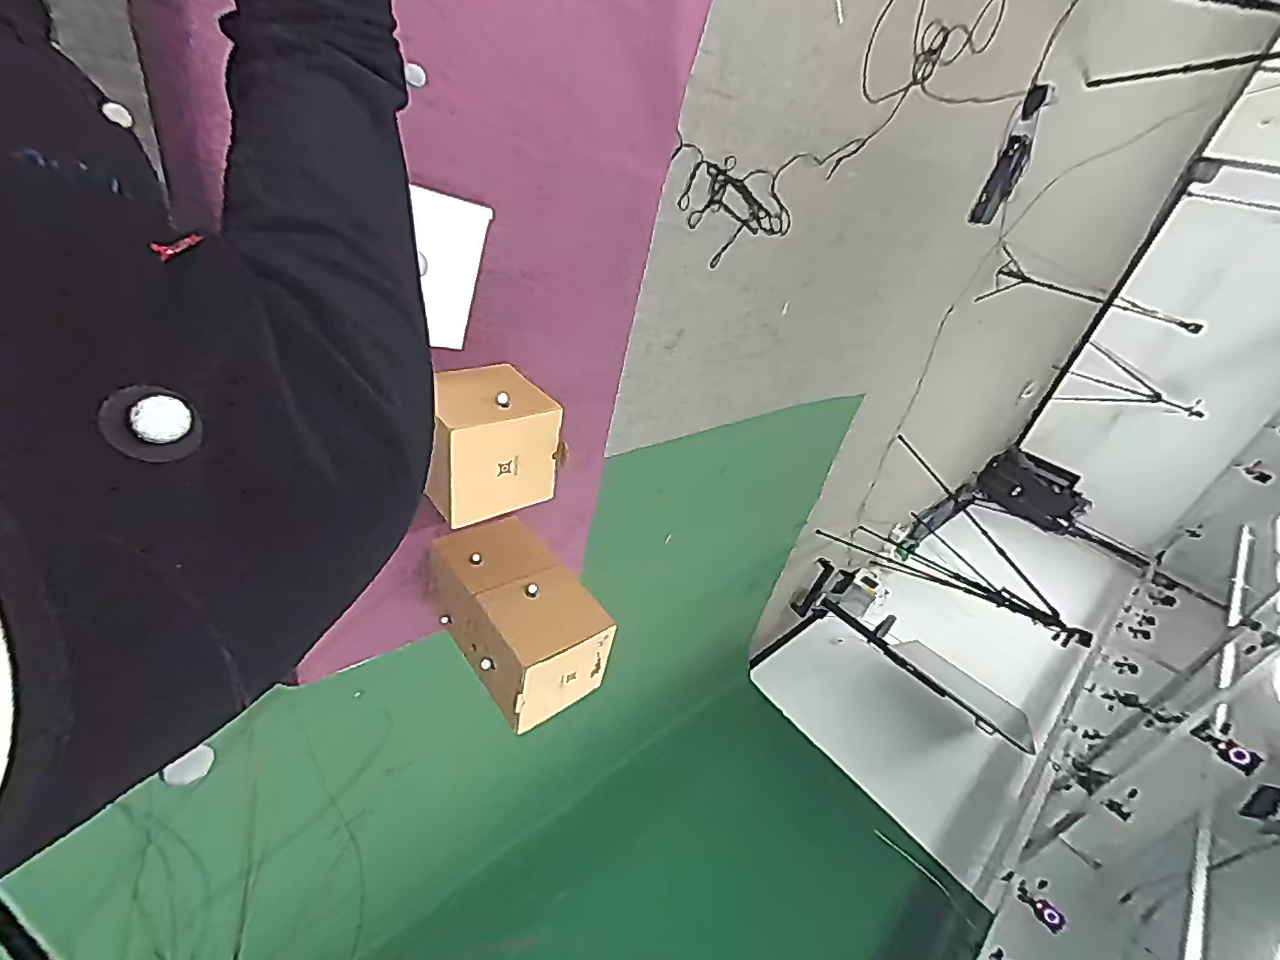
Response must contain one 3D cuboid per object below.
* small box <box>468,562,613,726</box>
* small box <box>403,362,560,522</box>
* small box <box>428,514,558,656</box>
[{"bbox_3d":[-0.177,0.269,0.922,0.179,0.176,0.168,-15,133,-40],"label":"small box"},{"bbox_3d":[-0.247,-0.067,0.826,0.179,0.176,0.168,-19,134,-39],"label":"small box"},{"bbox_3d":[-0.283,0.189,1.017,0.179,0.176,0.168,-16,133,-41],"label":"small box"}]
